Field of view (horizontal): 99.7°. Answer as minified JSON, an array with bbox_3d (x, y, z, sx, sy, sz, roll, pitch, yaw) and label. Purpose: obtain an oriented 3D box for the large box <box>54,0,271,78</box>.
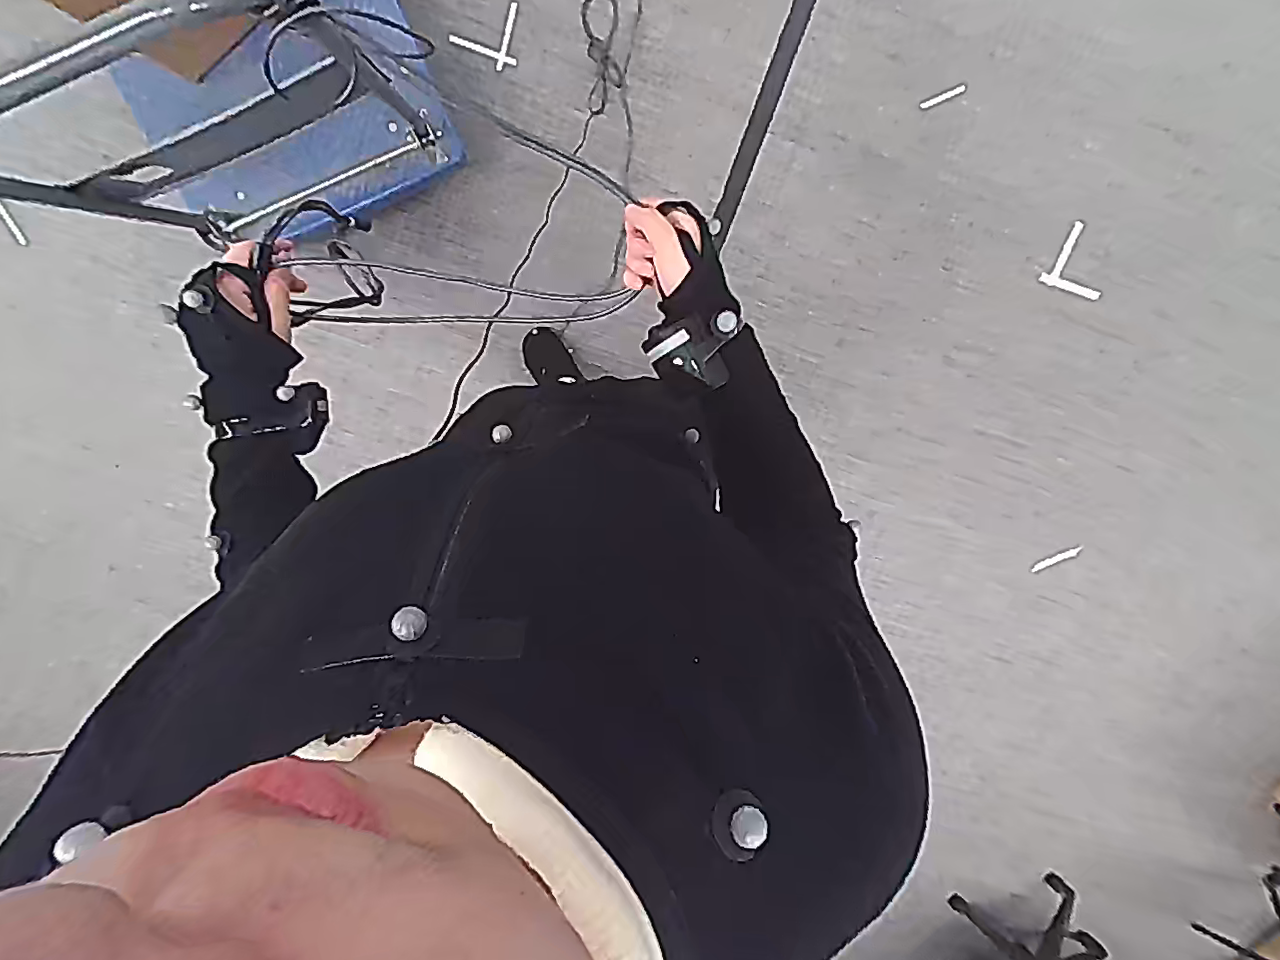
[{"bbox_3d":[-0.800,-0.964,0.848,0.408,0.320,0.320,-36,106,8],"label":"large box"}]
